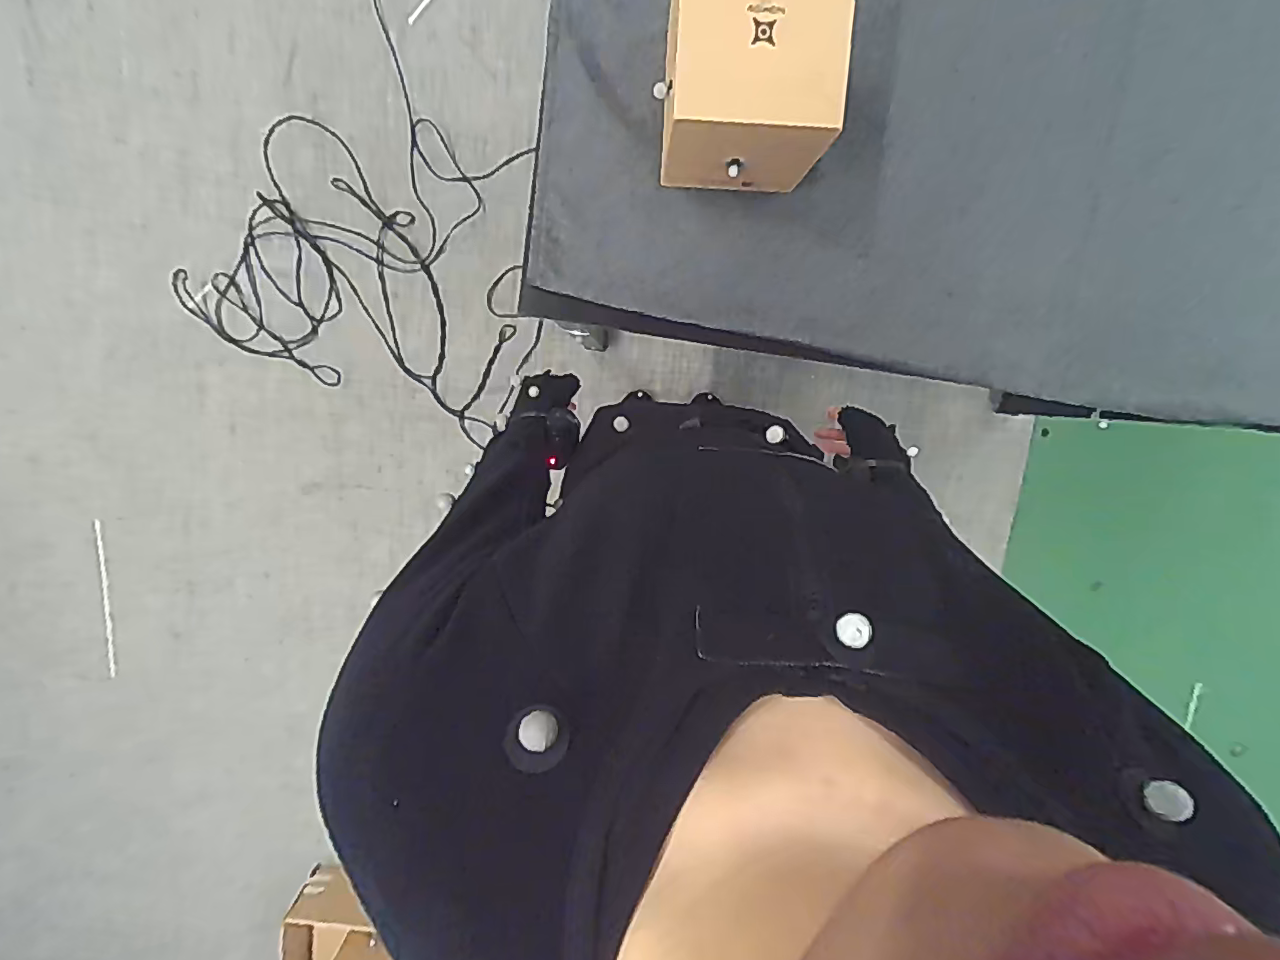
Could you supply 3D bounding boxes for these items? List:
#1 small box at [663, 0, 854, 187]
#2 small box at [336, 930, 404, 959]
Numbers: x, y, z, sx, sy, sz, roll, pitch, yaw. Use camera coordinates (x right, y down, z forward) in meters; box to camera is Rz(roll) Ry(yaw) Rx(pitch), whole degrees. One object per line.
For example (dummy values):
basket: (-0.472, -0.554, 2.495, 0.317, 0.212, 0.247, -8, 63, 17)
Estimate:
small box: (0.114, -0.437, 0.580, 0.168, 0.176, 0.179, 2, 98, -2)
small box: (-0.803, 1.464, 1.567, 0.168, 0.176, 0.179, 7, 100, -1)
